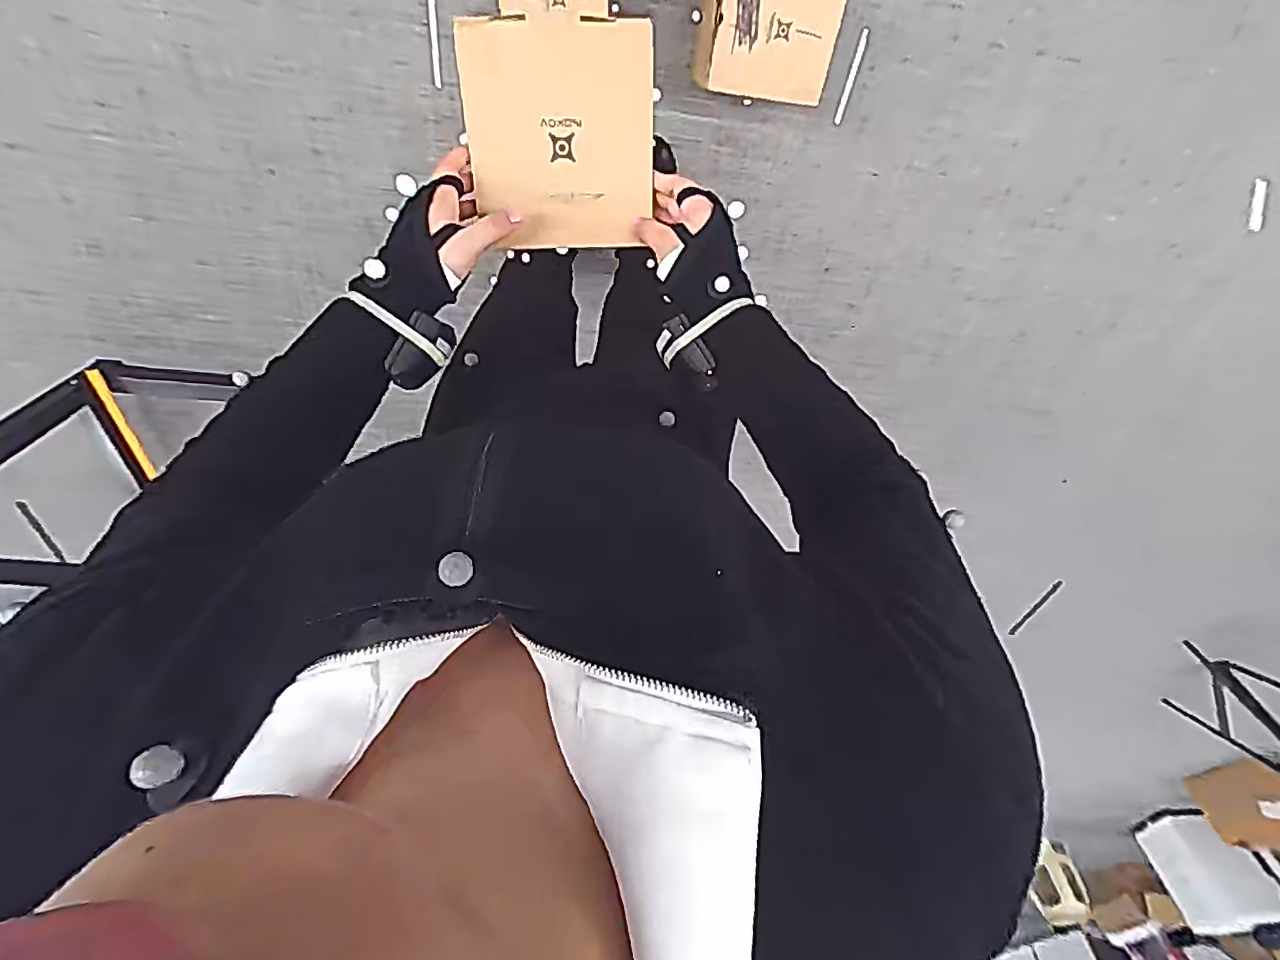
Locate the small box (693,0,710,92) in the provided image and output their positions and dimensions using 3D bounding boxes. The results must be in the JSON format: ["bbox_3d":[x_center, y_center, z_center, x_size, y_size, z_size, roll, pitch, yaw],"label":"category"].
[{"bbox_3d":[0.192,-0.786,0.949,0.168,0.176,0.179,6,131,-7],"label":"small box"}]

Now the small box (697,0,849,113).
[{"bbox_3d":[0.191,-0.678,0.822,0.179,0.176,0.168,5,130,-7],"label":"small box"}]

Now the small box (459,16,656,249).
[{"bbox_3d":[-0.077,-0.339,0.554,0.168,0.176,0.179,-3,120,-5],"label":"small box"}]
